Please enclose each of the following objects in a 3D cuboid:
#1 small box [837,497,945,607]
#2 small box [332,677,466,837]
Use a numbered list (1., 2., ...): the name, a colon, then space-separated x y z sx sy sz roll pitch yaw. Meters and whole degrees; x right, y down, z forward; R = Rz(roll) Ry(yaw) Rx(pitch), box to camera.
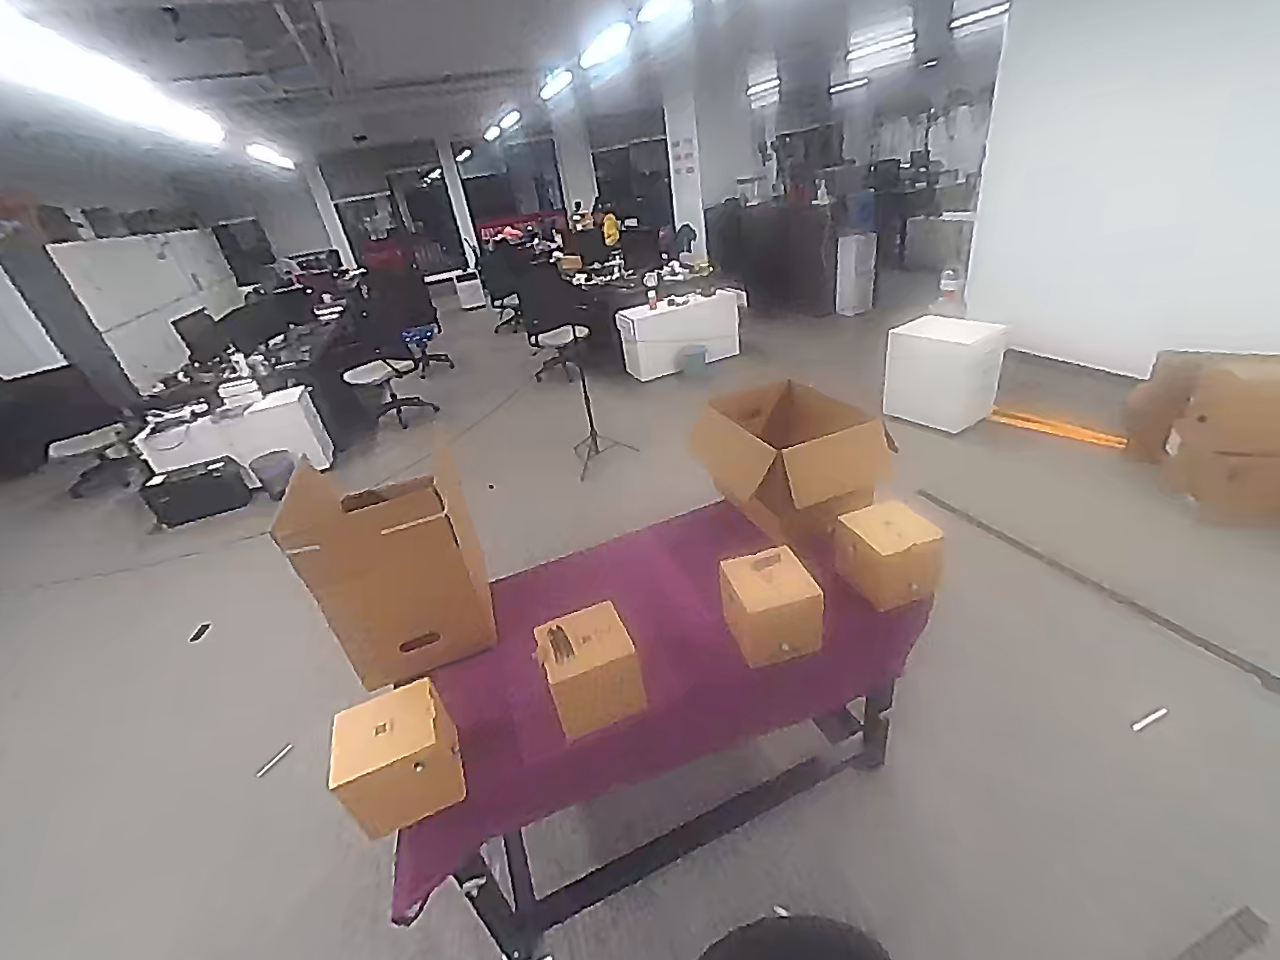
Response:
1. small box: 0.585 0.169 1.286 0.168 0.176 0.179 -17 30 -10
2. small box: -0.442 0.512 1.004 0.179 0.176 0.168 -19 31 -17
